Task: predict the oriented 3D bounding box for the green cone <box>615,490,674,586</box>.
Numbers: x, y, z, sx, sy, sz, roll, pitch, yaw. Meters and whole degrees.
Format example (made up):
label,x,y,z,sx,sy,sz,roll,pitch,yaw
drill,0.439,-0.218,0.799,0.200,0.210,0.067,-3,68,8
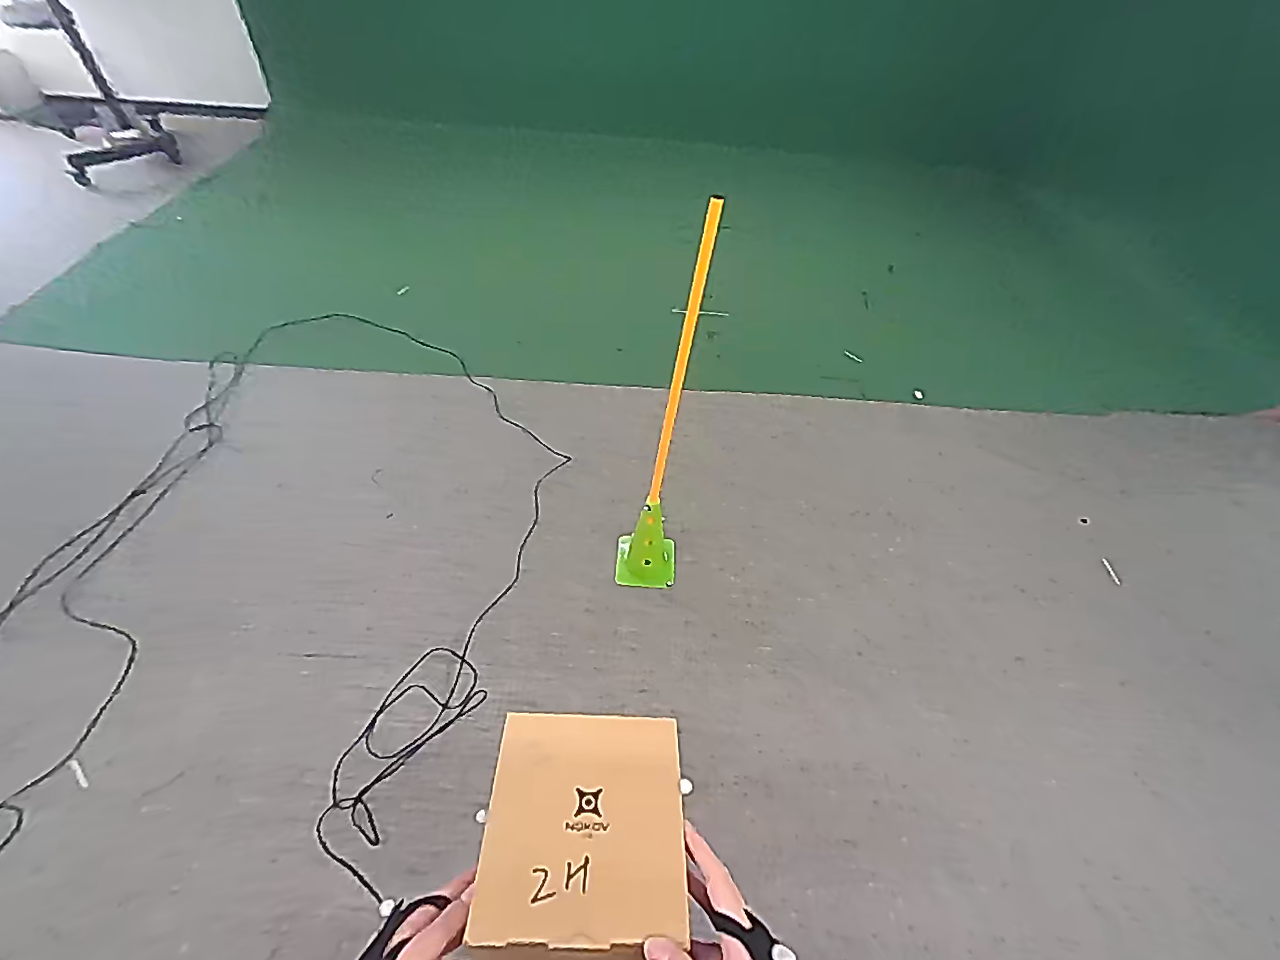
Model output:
label,x,y,z,sx,sy,sz,roll,pitch,yaw
green cone,0.025,0.161,1.737,0.202,0.368,0.200,3,48,0
